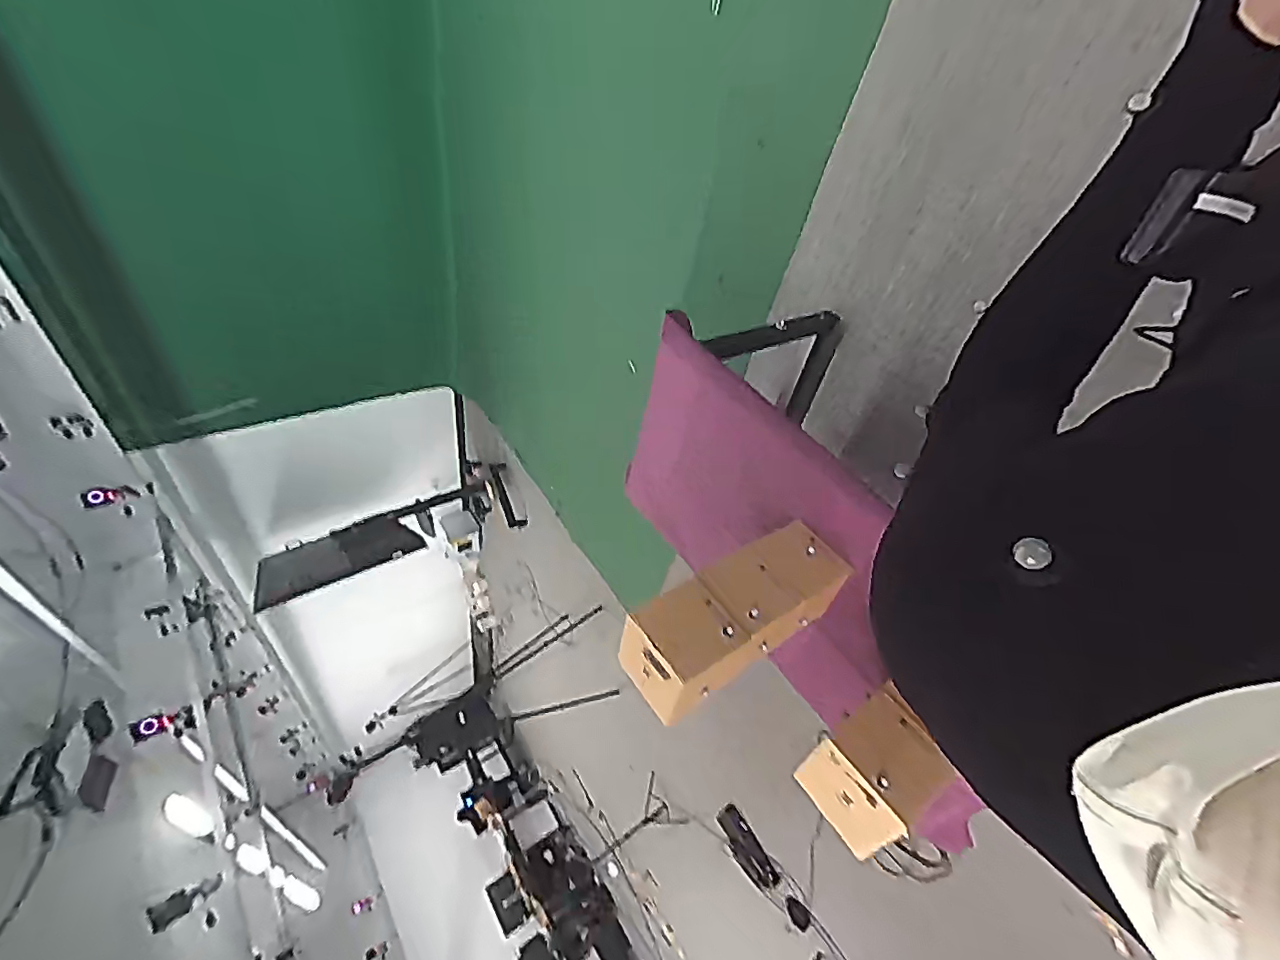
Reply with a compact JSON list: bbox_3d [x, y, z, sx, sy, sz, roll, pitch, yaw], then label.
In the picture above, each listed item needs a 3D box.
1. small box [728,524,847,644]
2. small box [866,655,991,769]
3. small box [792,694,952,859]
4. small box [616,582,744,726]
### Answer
[{"bbox_3d":[0.333,0.231,1.222,0.168,0.176,0.179,47,142,32],"label":"small box"},{"bbox_3d":[0.538,0.481,1.055,0.168,0.176,0.179,45,140,34],"label":"small box"},{"bbox_3d":[0.409,0.520,0.960,0.168,0.176,0.179,47,142,33],"label":"small box"},{"bbox_3d":[0.076,0.327,1.041,0.168,0.176,0.179,47,143,32],"label":"small box"}]
